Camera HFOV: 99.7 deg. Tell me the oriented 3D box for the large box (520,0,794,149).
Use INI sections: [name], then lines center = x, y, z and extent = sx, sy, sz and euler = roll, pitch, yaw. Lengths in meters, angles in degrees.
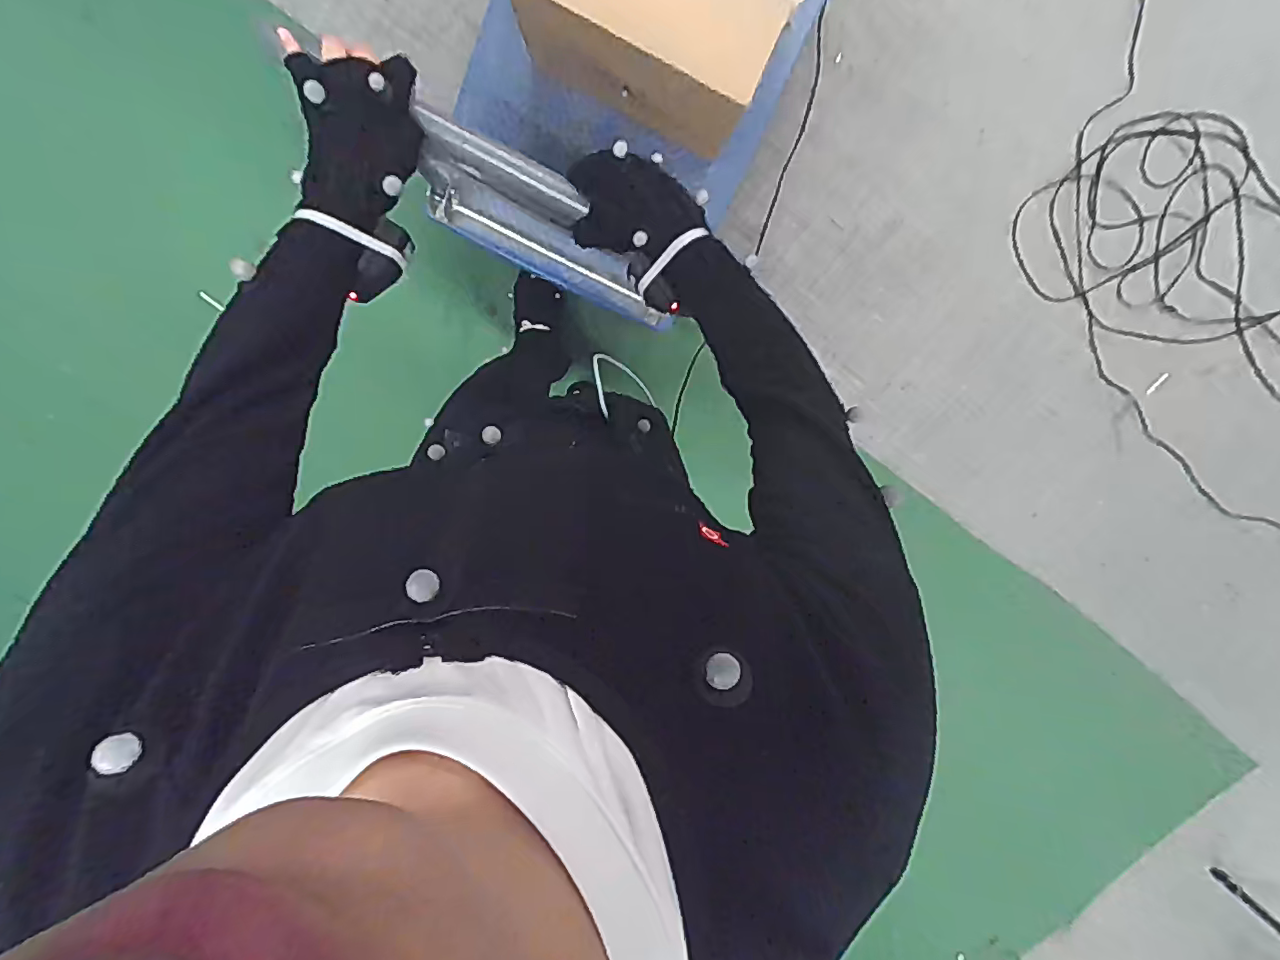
[large box]
center = 0.048, -0.840, 0.912
extent = 0.408, 0.320, 0.320
euler = 23, 105, -9
